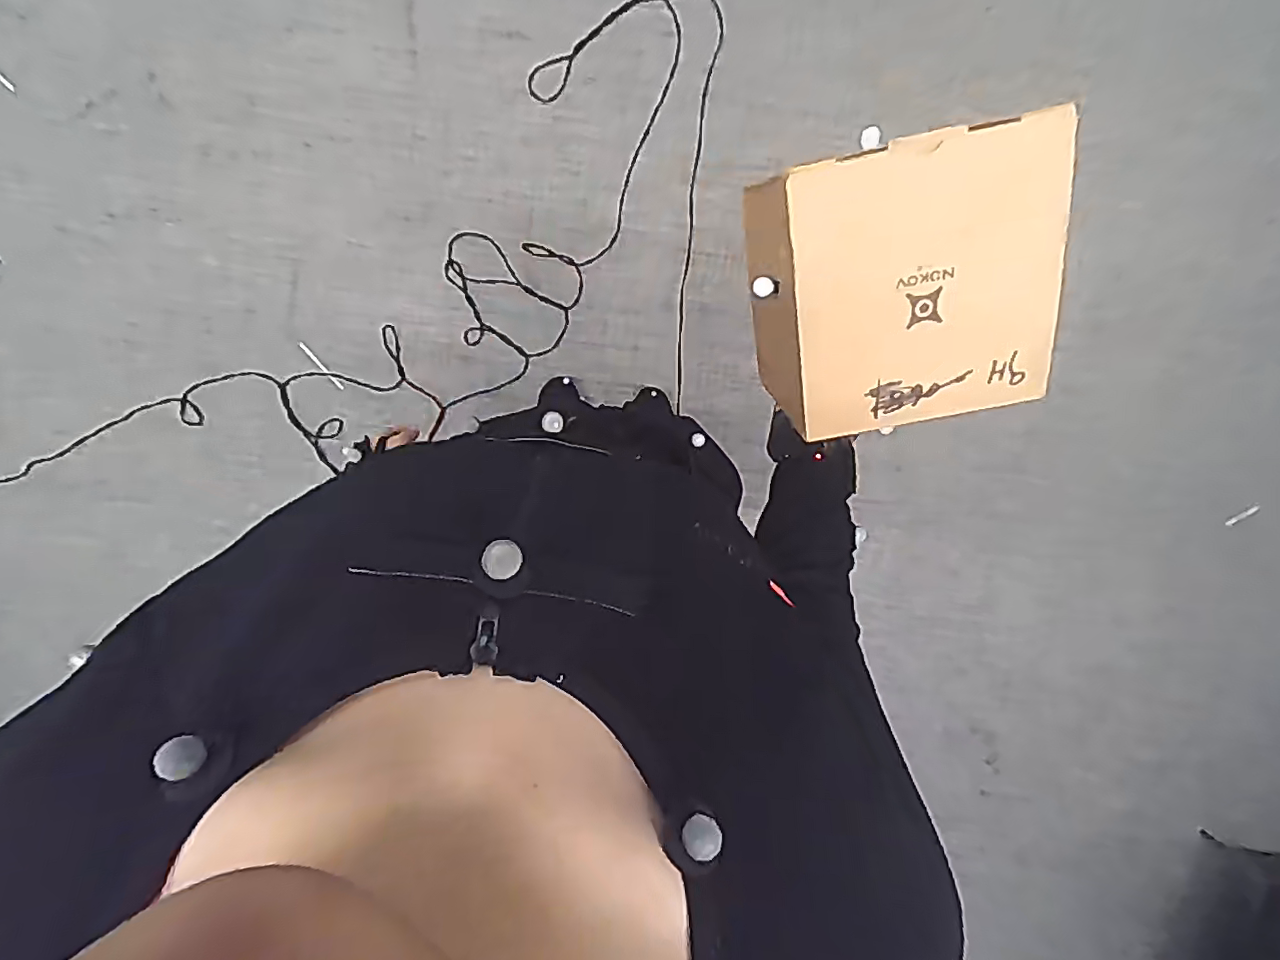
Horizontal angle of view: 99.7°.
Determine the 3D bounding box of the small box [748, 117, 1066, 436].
[{"bbox_3d":[0.188,-0.155,0.430,0.168,0.176,0.179,-10,114,5],"label":"small box"}]
